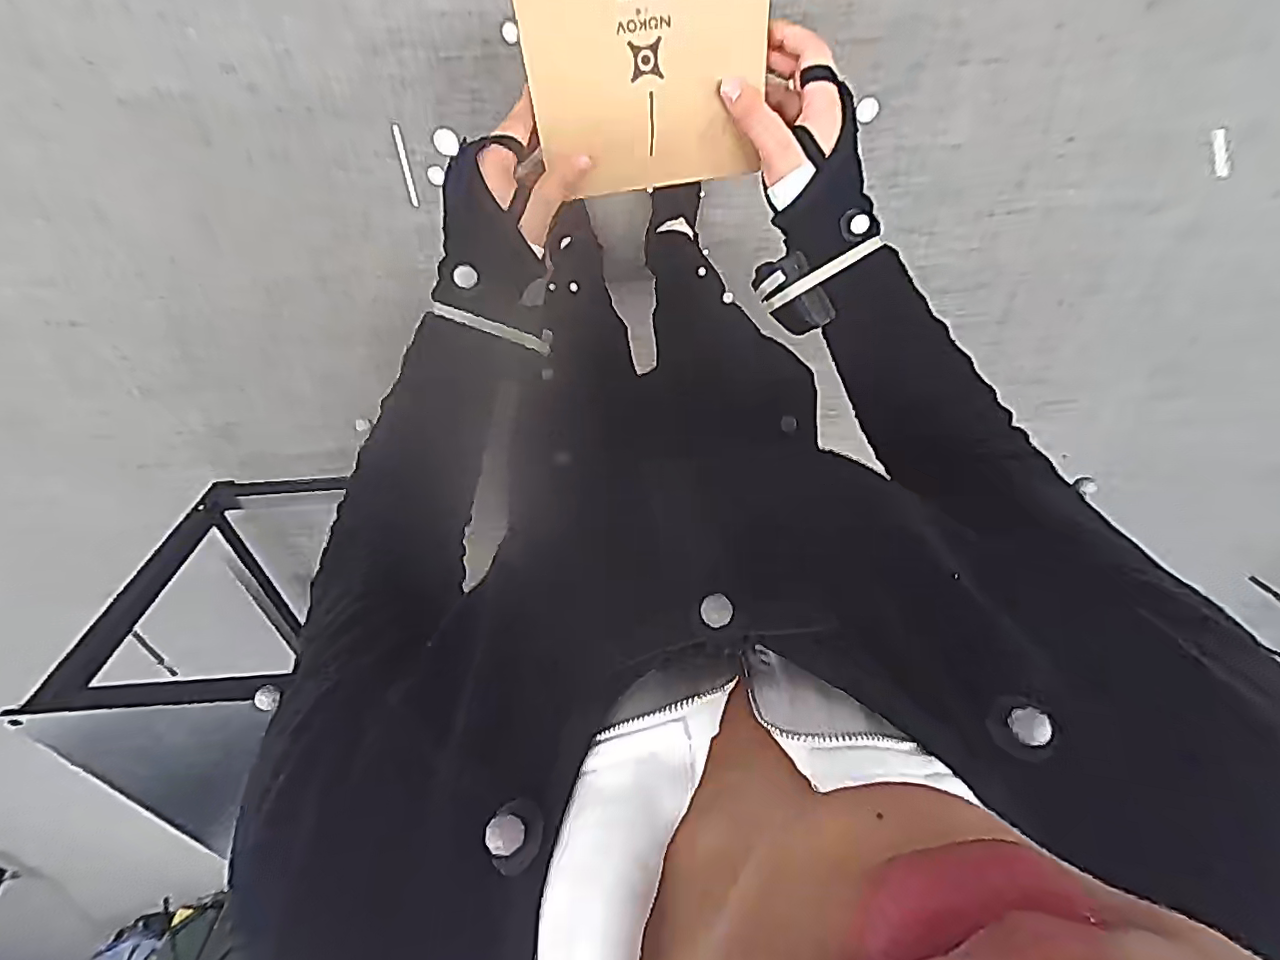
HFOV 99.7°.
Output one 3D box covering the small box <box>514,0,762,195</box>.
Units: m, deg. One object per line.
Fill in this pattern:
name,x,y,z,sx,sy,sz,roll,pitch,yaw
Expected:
small box,-0.009,-0.348,0.421,0.168,0.176,0.179,-9,133,-1
